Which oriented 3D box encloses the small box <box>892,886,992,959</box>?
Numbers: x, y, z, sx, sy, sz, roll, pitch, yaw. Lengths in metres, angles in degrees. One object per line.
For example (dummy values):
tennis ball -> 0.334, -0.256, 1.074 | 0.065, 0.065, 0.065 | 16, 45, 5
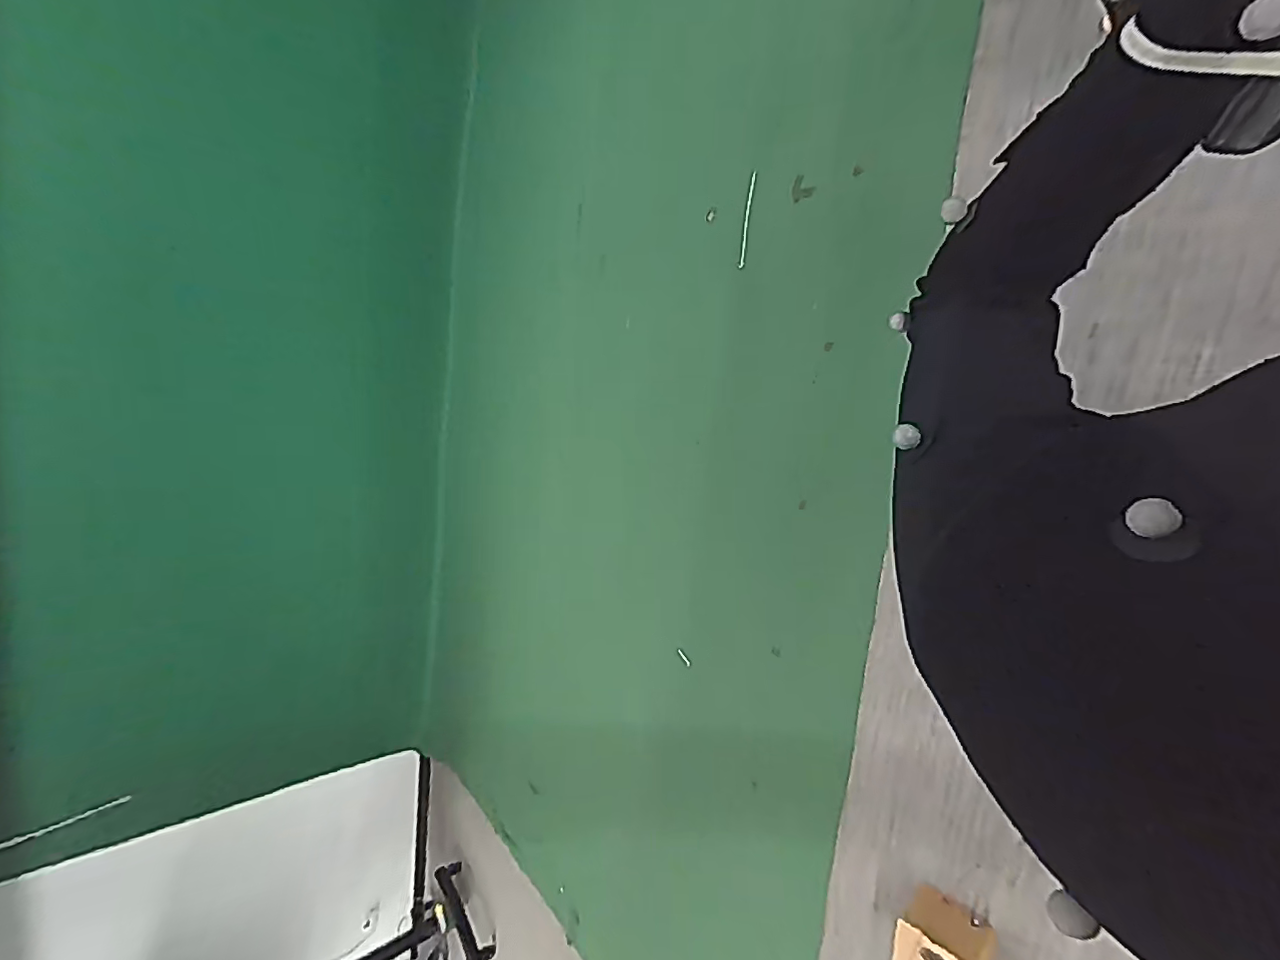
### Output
small box -> 0.747, 1.167, 1.337 | 0.168, 0.176, 0.179 | 13, 100, 48
